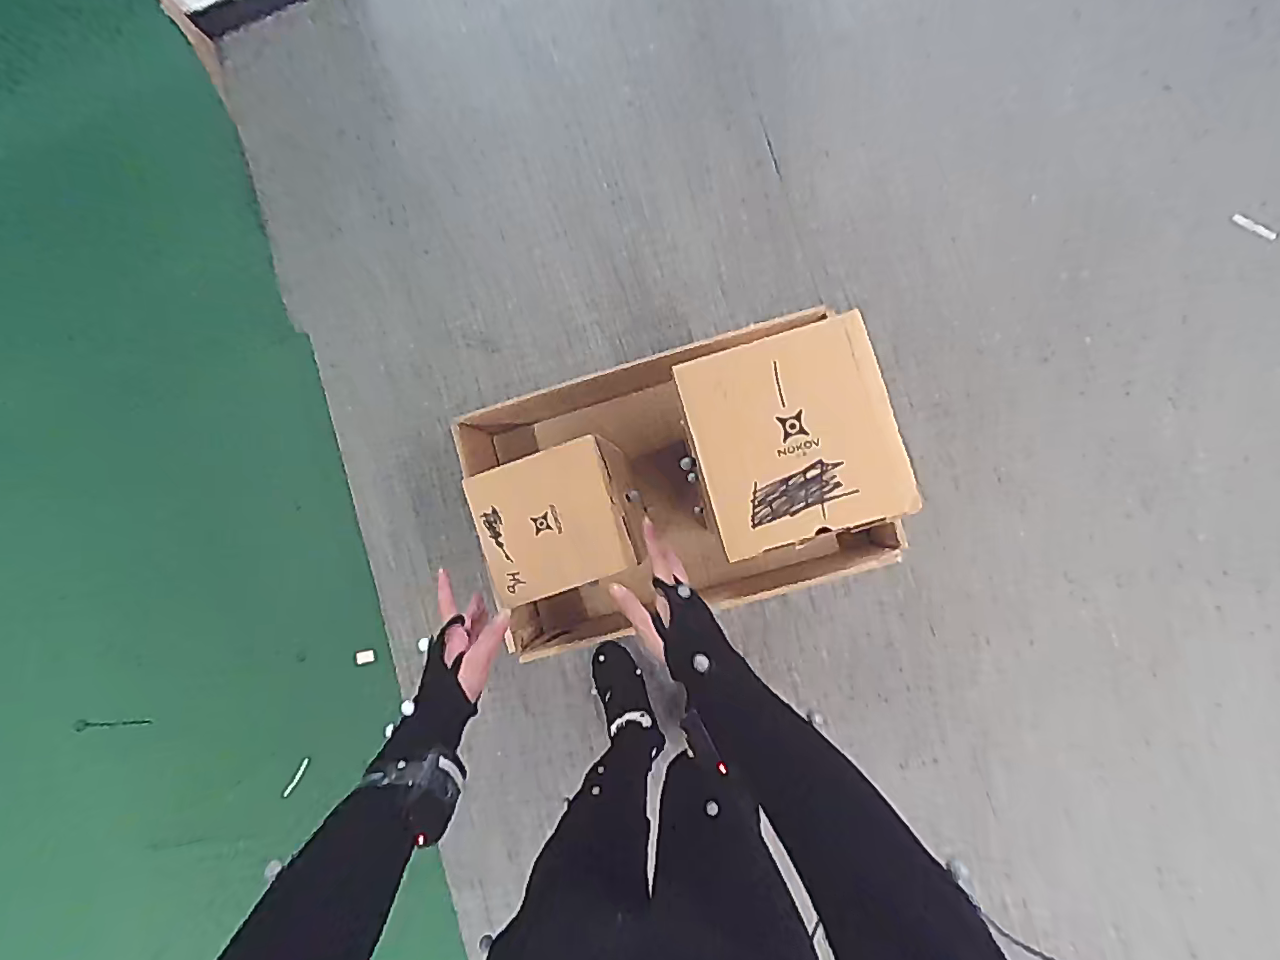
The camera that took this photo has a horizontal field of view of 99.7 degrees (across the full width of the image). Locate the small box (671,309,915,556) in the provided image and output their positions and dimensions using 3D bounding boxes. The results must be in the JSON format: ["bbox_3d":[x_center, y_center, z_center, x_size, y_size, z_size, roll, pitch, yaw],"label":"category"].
[{"bbox_3d":[0.135,-0.036,0.532,0.168,0.176,0.179,-16,85,5],"label":"small box"}]

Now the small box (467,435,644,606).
[{"bbox_3d":[-0.098,0.050,0.719,0.179,0.176,0.168,-19,85,4],"label":"small box"}]

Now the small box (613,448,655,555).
[{"bbox_3d":[-0.082,0.058,0.881,0.179,0.176,0.168,-17,86,4],"label":"small box"}]
